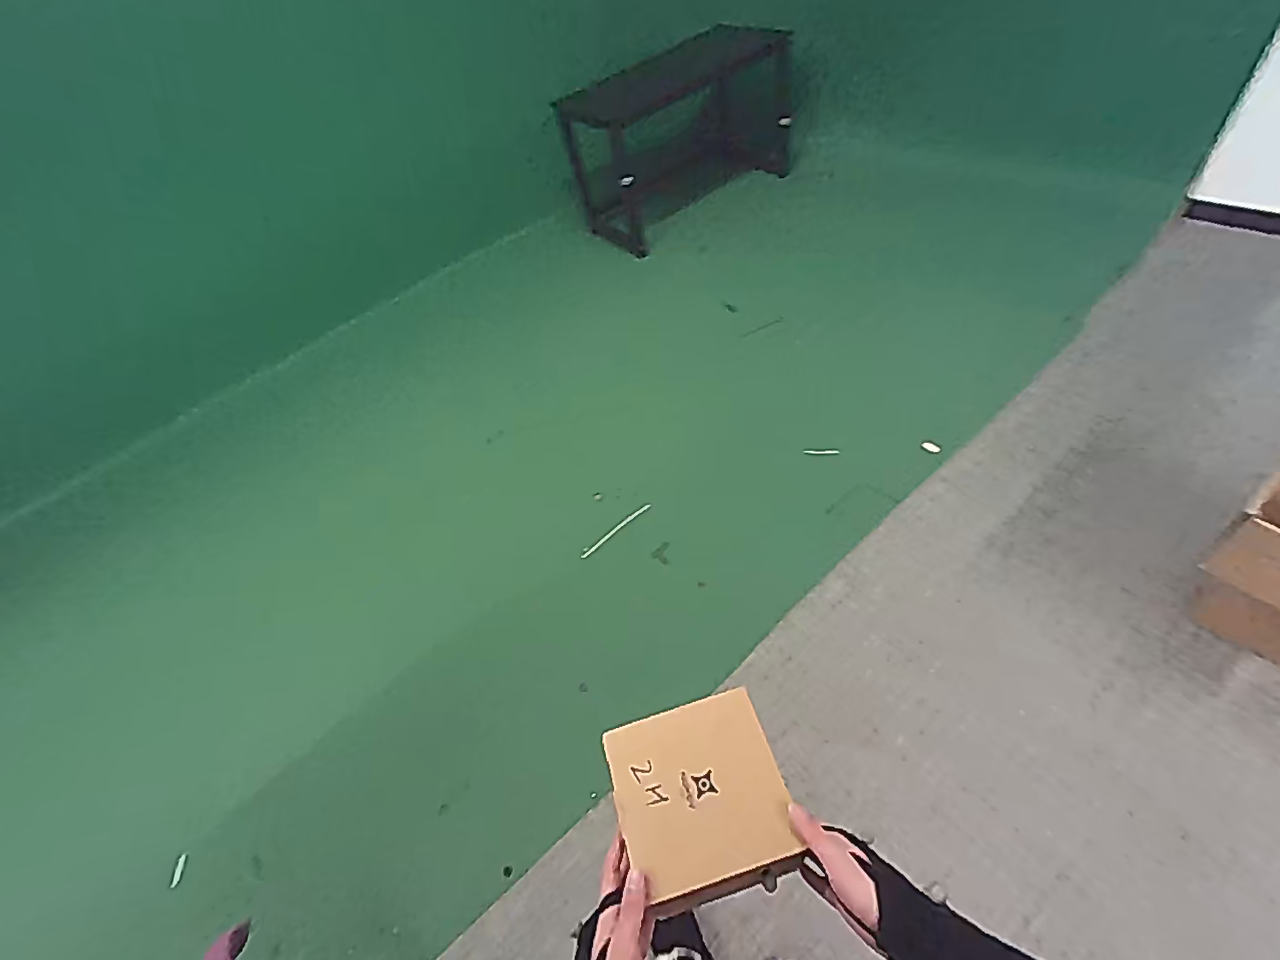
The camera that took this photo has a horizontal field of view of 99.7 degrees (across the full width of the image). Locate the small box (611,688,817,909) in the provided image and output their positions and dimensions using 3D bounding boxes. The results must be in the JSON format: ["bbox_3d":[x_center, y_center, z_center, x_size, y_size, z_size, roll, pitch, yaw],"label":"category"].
[{"bbox_3d":[0.080,0.368,0.622,0.179,0.176,0.168,-17,49,-2],"label":"small box"}]
